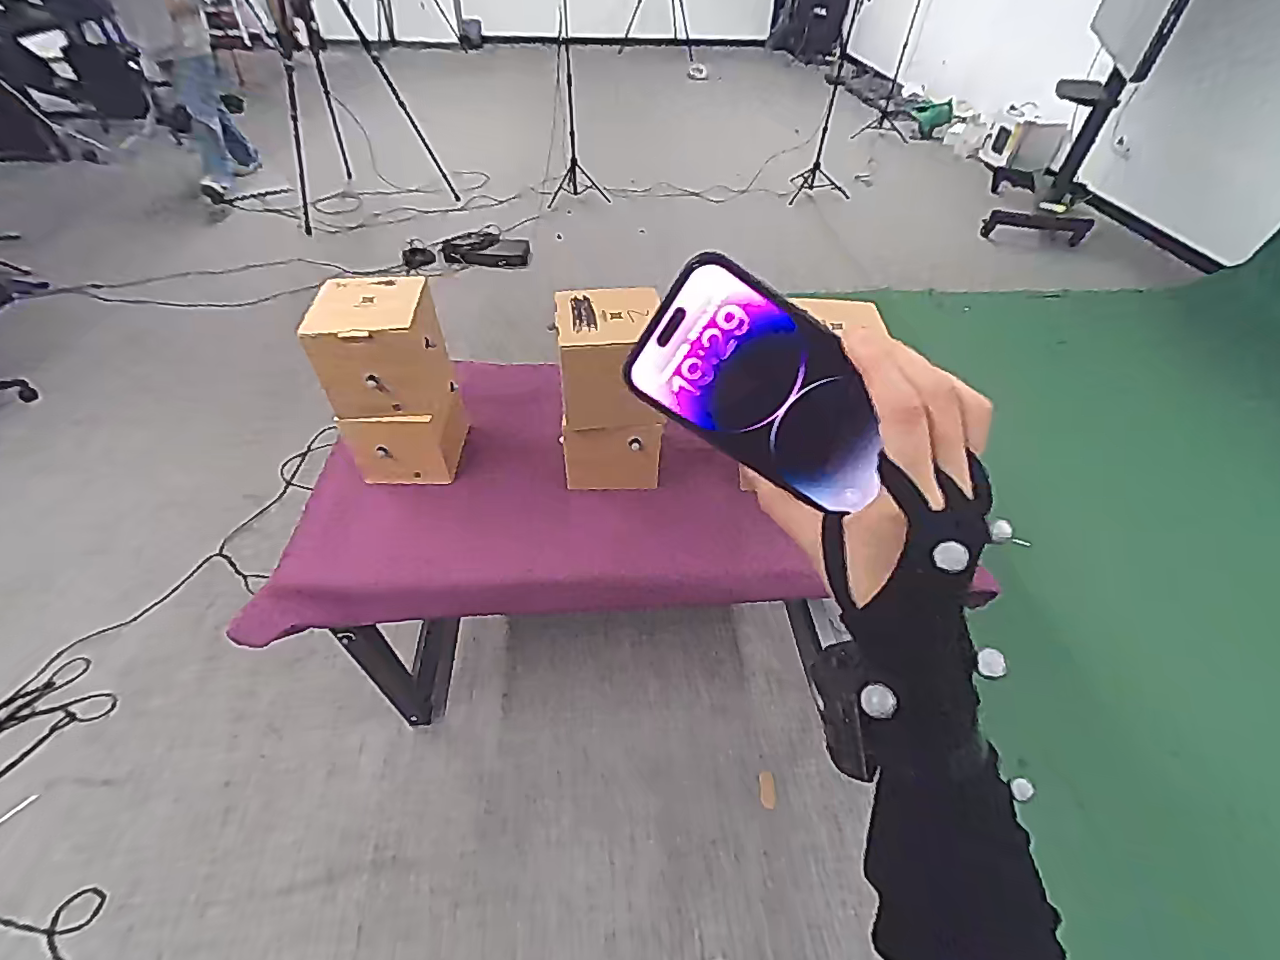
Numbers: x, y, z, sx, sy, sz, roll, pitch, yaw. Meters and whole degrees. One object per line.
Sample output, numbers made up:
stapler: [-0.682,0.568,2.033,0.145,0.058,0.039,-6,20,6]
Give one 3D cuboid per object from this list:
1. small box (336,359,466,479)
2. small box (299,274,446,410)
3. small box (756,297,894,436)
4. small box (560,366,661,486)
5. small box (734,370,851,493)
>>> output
small box: [-0.446,-0.115,1.045,0.168,0.176,0.179,0,47,-2]
small box: [-0.442,-0.232,0.930,0.168,0.176,0.179,-3,48,-6]
small box: [0.299,-0.190,0.921,0.179,0.176,0.168,5,47,1]
small box: [-0.055,-0.101,1.046,0.179,0.176,0.168,0,47,-2]
small box: [0.285,-0.091,1.051,0.179,0.176,0.168,4,47,2]
